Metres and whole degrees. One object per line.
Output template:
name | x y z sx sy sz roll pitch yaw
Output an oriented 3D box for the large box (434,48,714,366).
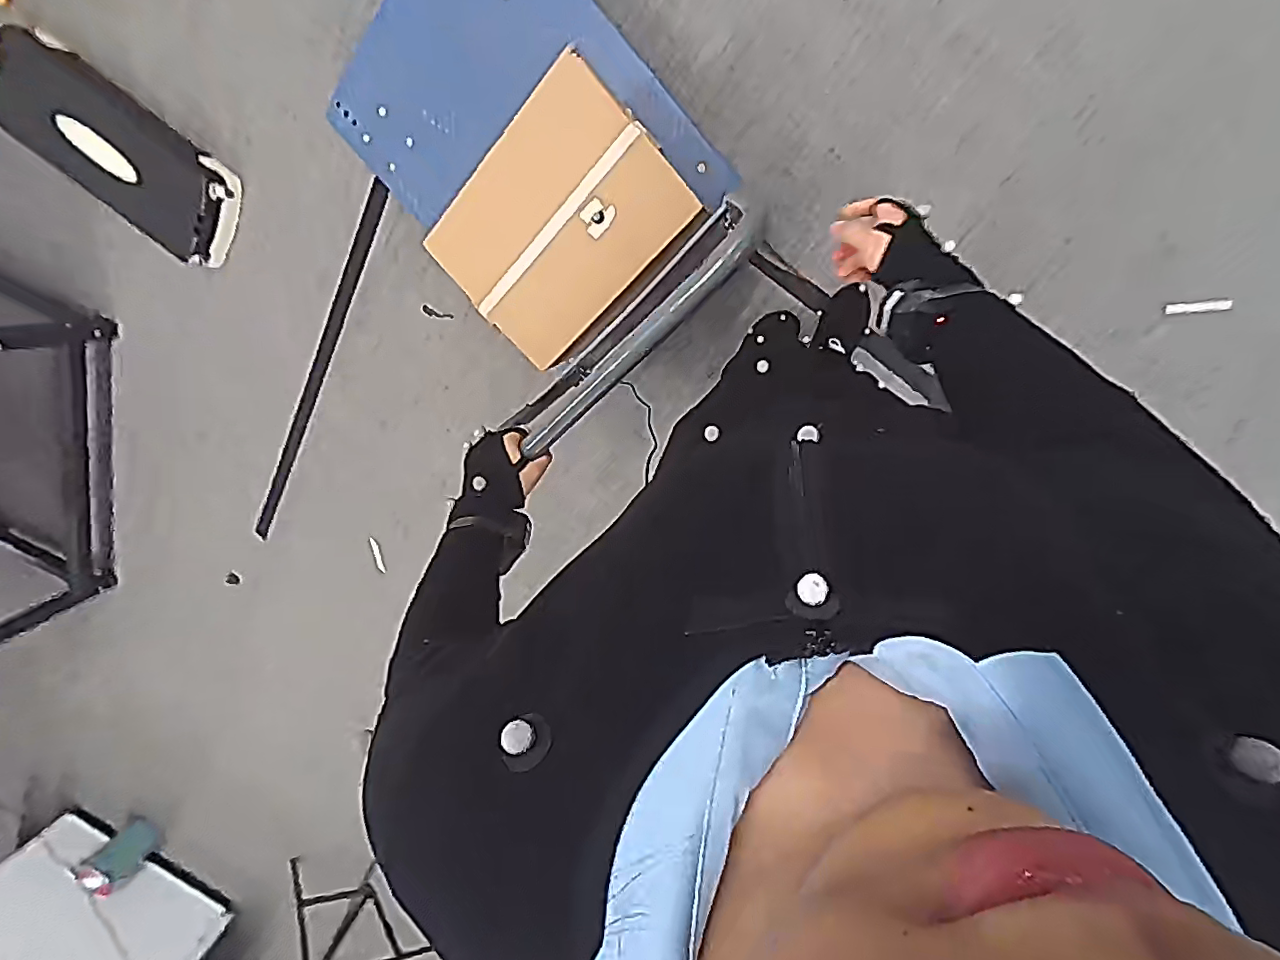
large box | -0.109 -0.489 1.059 0.408 0.320 0.320 -40 99 22
